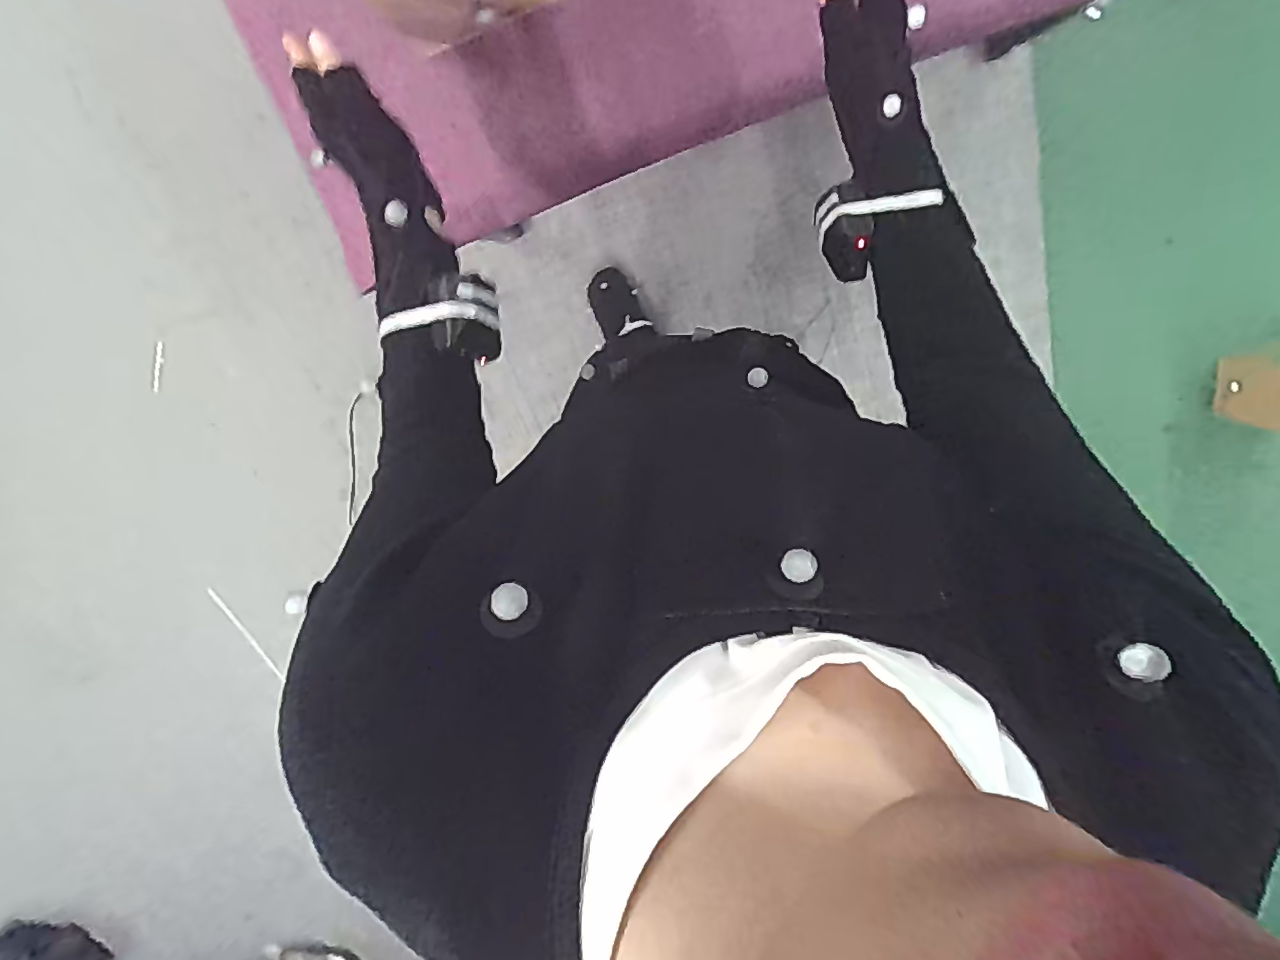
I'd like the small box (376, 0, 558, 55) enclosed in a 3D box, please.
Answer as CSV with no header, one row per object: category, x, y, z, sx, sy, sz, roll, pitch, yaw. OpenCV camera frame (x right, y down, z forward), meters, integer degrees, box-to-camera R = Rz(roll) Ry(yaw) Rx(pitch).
small box,-0.179,-0.513,0.457,0.168,0.176,0.179,-17,111,7

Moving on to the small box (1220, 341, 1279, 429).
small box,1.609,-0.241,1.329,0.179,0.176,0.168,-16,111,8
